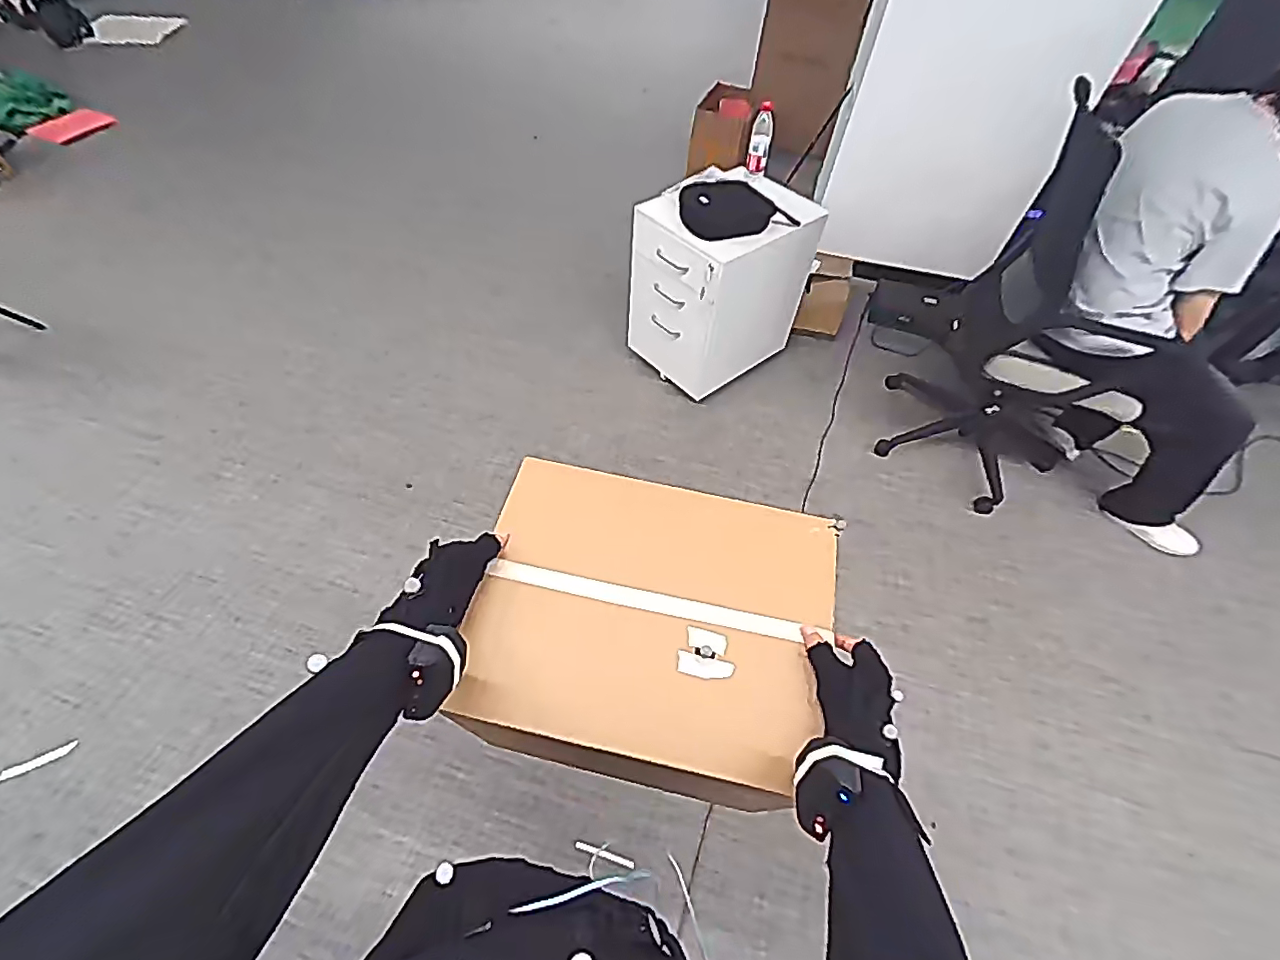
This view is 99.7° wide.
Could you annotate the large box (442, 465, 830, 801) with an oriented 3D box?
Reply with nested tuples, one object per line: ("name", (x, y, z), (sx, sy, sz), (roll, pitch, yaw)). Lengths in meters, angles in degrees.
("large box", (0.009, 0.220, 0.746), (0.408, 0.320, 0.320), (12, 59, 4))
